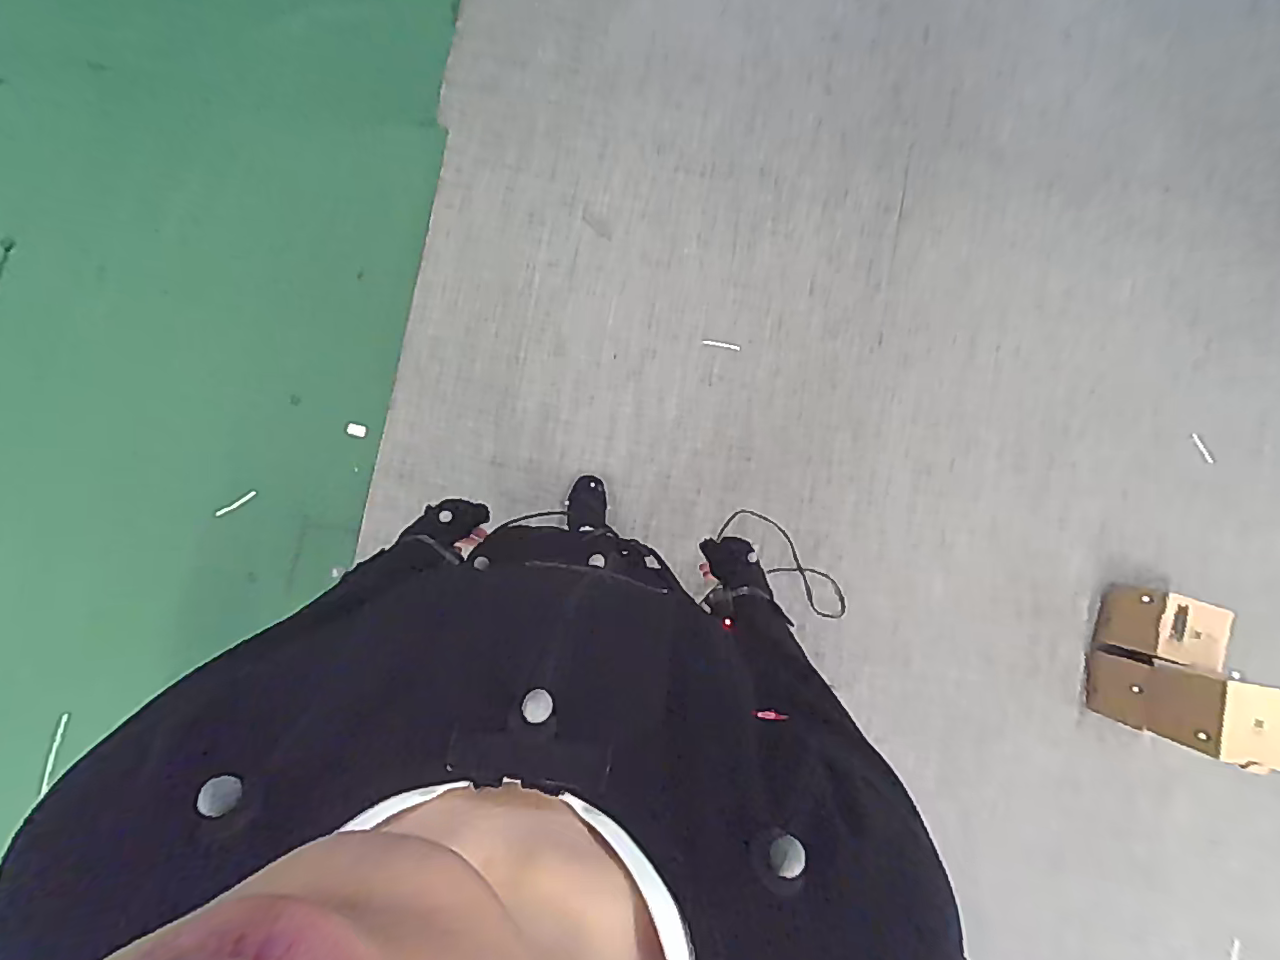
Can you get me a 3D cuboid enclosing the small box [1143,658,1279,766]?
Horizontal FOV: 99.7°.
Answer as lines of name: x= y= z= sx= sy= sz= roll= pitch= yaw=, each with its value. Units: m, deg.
small box: x=1.328 y=0.529 z=1.256 sx=0.168 sy=0.176 sz=0.179 roll=10 pitch=86 yaw=-1
